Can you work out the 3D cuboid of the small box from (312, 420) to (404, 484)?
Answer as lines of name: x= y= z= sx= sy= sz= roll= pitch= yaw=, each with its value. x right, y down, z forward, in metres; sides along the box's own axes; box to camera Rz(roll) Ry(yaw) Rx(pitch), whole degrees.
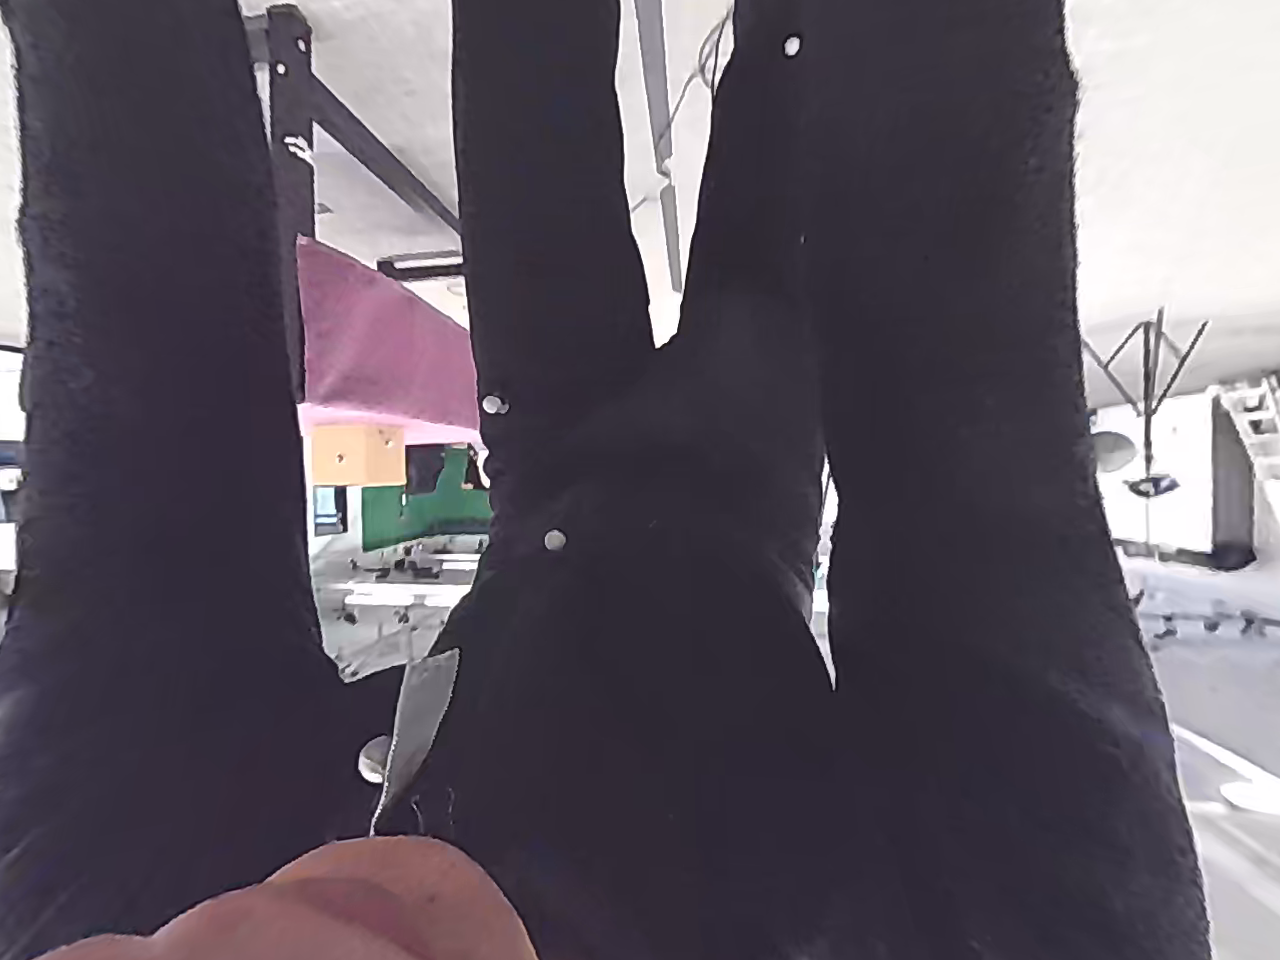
small box: x=-0.792 y=-0.075 z=1.526 sx=0.179 sy=0.176 sz=0.168 roll=-2 pitch=-179 yaw=12
